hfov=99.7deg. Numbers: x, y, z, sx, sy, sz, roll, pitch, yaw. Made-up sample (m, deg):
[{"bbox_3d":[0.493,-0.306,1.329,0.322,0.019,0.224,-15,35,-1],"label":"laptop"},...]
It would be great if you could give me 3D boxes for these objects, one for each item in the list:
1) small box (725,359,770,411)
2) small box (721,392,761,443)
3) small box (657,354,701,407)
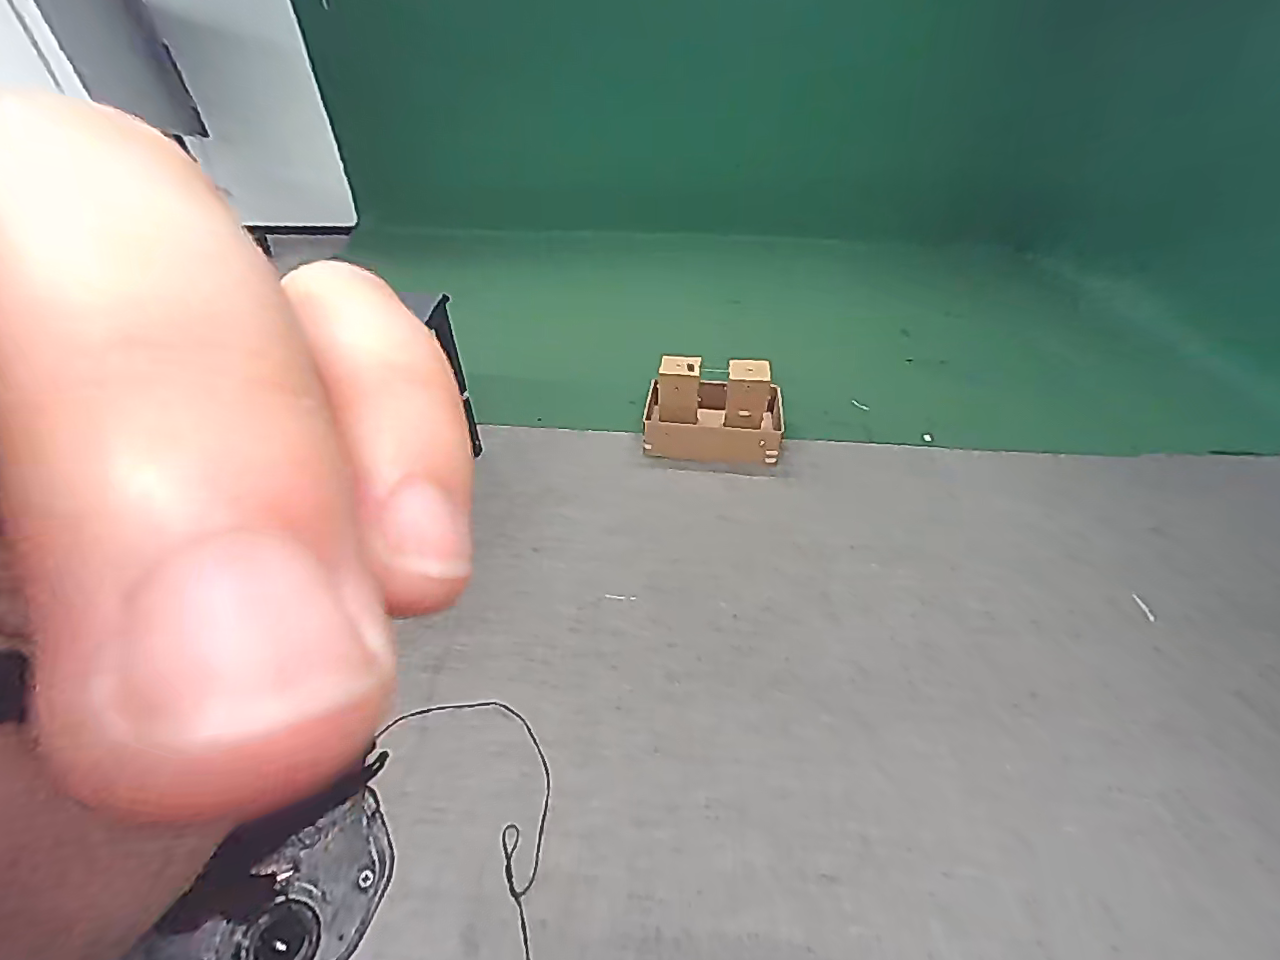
[{"bbox_3d":[0.468,-0.416,2.380,0.179,0.176,0.168,4,42,5],"label":"small box"},{"bbox_3d":[0.464,-0.288,2.481,0.168,0.176,0.179,5,42,8],"label":"small box"},{"bbox_3d":[0.172,-0.441,2.407,0.179,0.176,0.168,5,41,7],"label":"small box"}]
